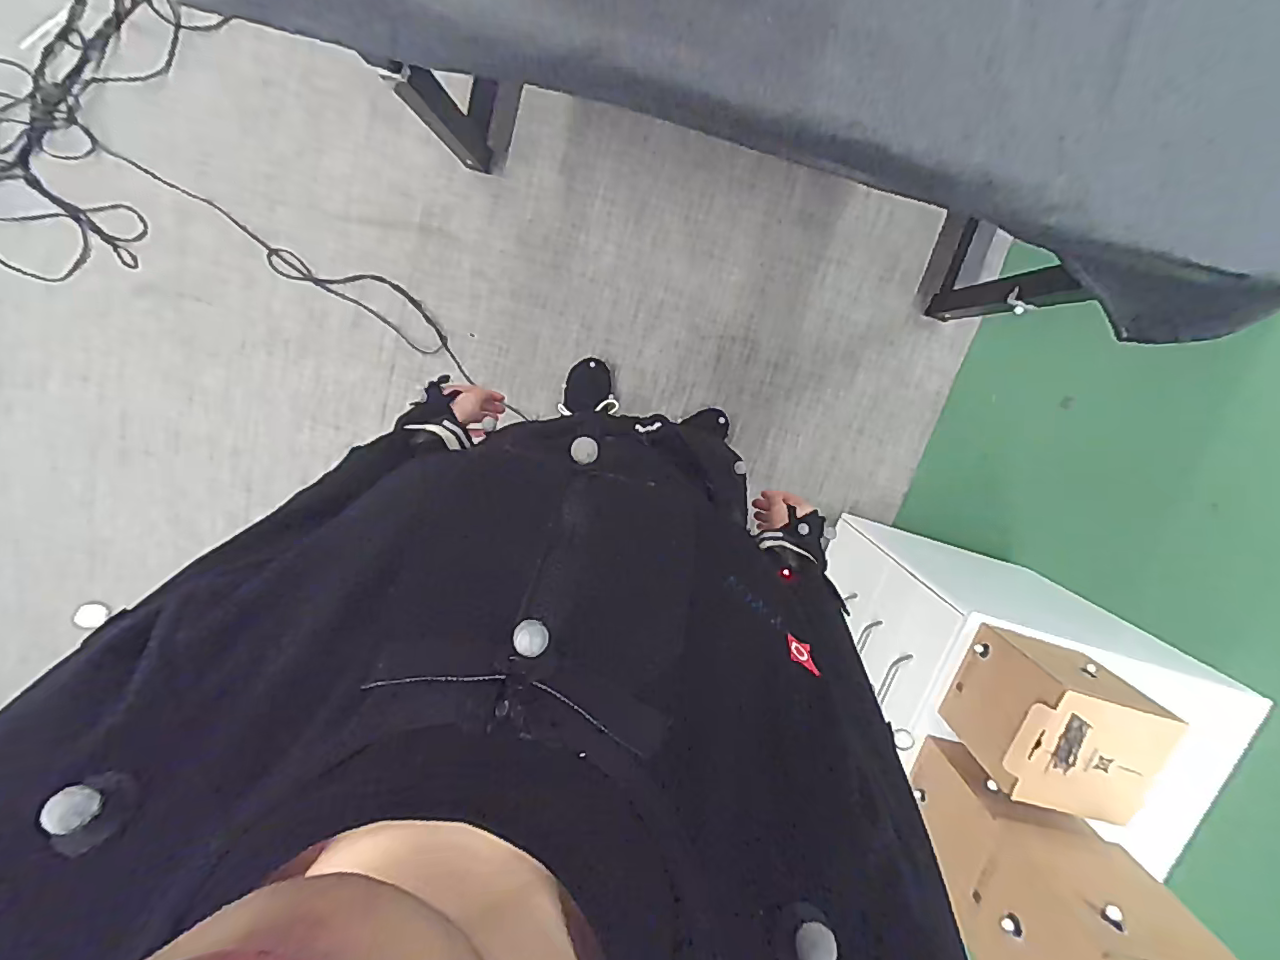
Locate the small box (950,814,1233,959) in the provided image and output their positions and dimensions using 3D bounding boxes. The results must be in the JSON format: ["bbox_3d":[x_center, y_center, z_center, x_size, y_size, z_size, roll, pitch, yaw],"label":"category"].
[{"bbox_3d":[0.514,0.539,0.643,0.179,0.176,0.168,13,102,-3],"label":"small box"}]
